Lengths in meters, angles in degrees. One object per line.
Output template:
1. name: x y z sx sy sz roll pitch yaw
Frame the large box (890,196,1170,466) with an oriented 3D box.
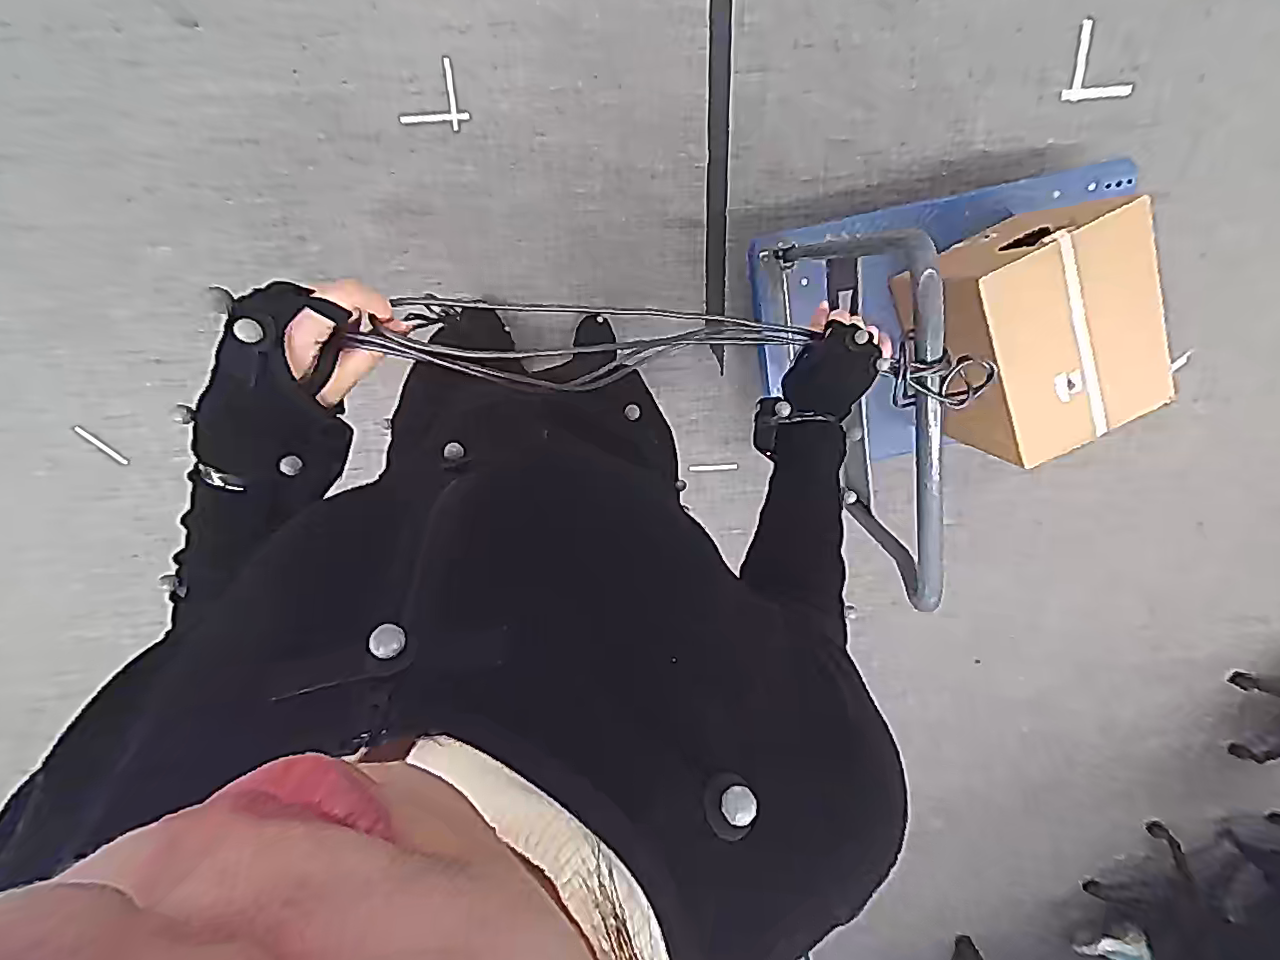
1. large box: 0.796 -0.308 1.136 0.320 0.320 0.408 -27 111 5
